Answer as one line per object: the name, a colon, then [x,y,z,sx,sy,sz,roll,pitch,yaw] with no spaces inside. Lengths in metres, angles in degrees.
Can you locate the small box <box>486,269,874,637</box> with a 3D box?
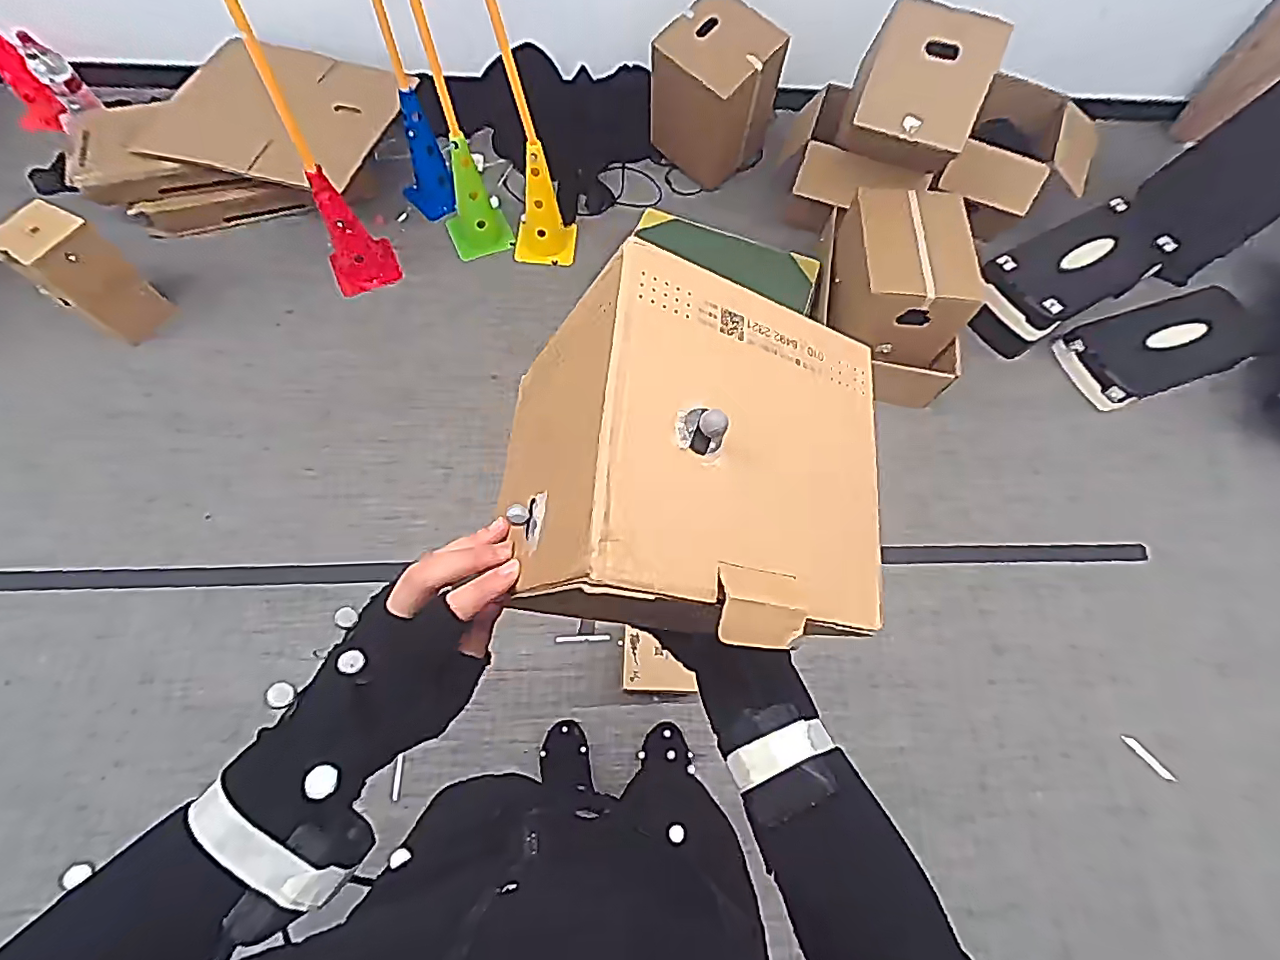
small box: [0.017,0.003,0.341,0.168,0.179,0.176,16,70,-26]

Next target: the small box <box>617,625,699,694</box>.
small box: [0.040,0.420,1.294,0.179,0.176,0.168,4,66,-4]
